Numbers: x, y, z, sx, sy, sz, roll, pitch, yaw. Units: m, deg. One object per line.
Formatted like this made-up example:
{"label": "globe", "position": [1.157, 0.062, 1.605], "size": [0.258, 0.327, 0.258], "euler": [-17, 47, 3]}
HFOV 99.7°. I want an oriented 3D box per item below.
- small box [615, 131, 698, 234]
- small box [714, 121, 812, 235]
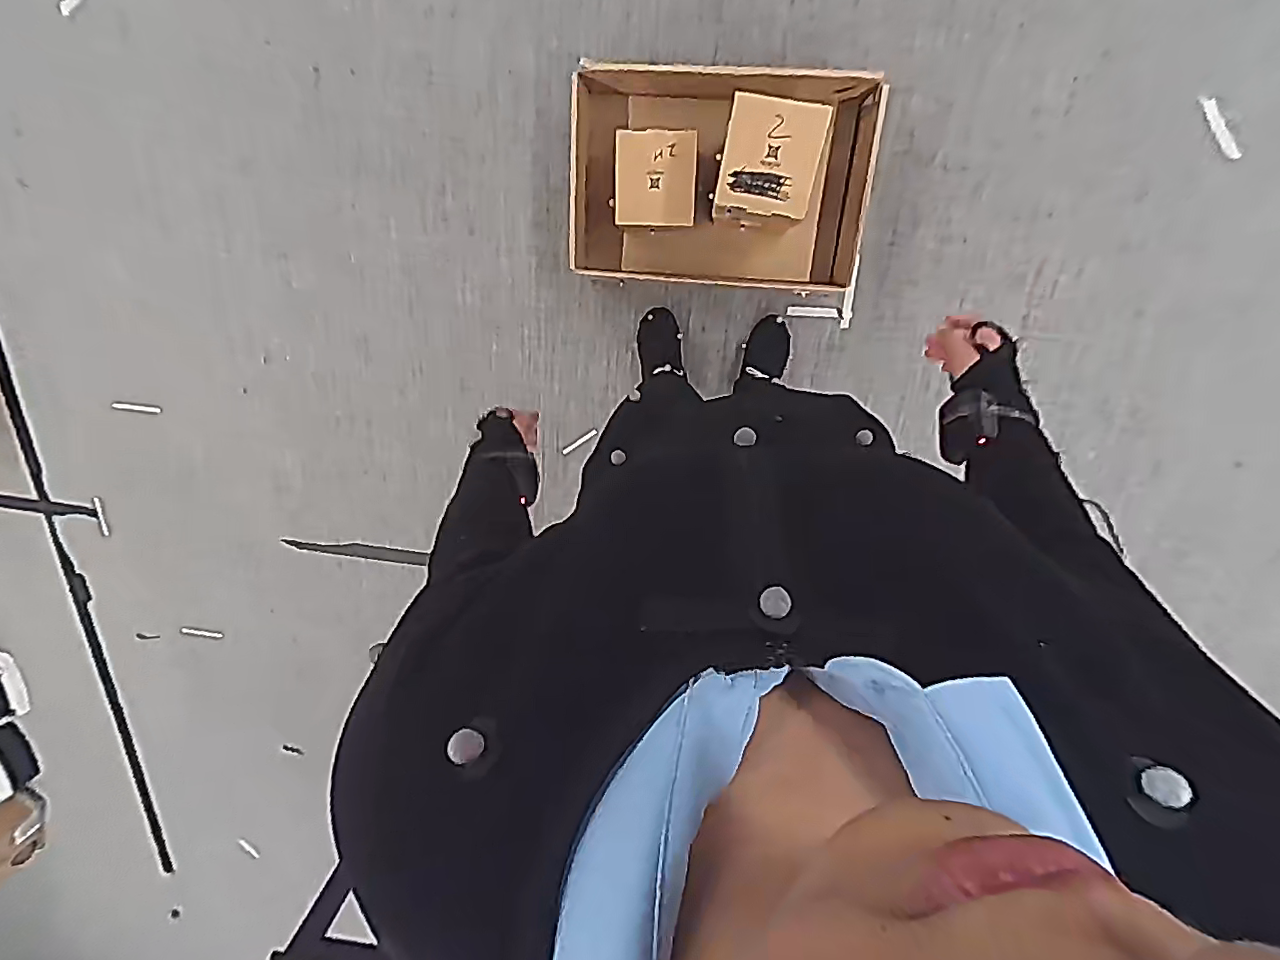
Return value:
{"label": "small box", "position": [0.038, -0.637, 1.176], "size": [0.168, 0.176, 0.179], "euler": [3, 110, 3]}
{"label": "small box", "position": [0.254, -0.637, 1.158], "size": [0.168, 0.176, 0.179], "euler": [10, 111, 5]}
